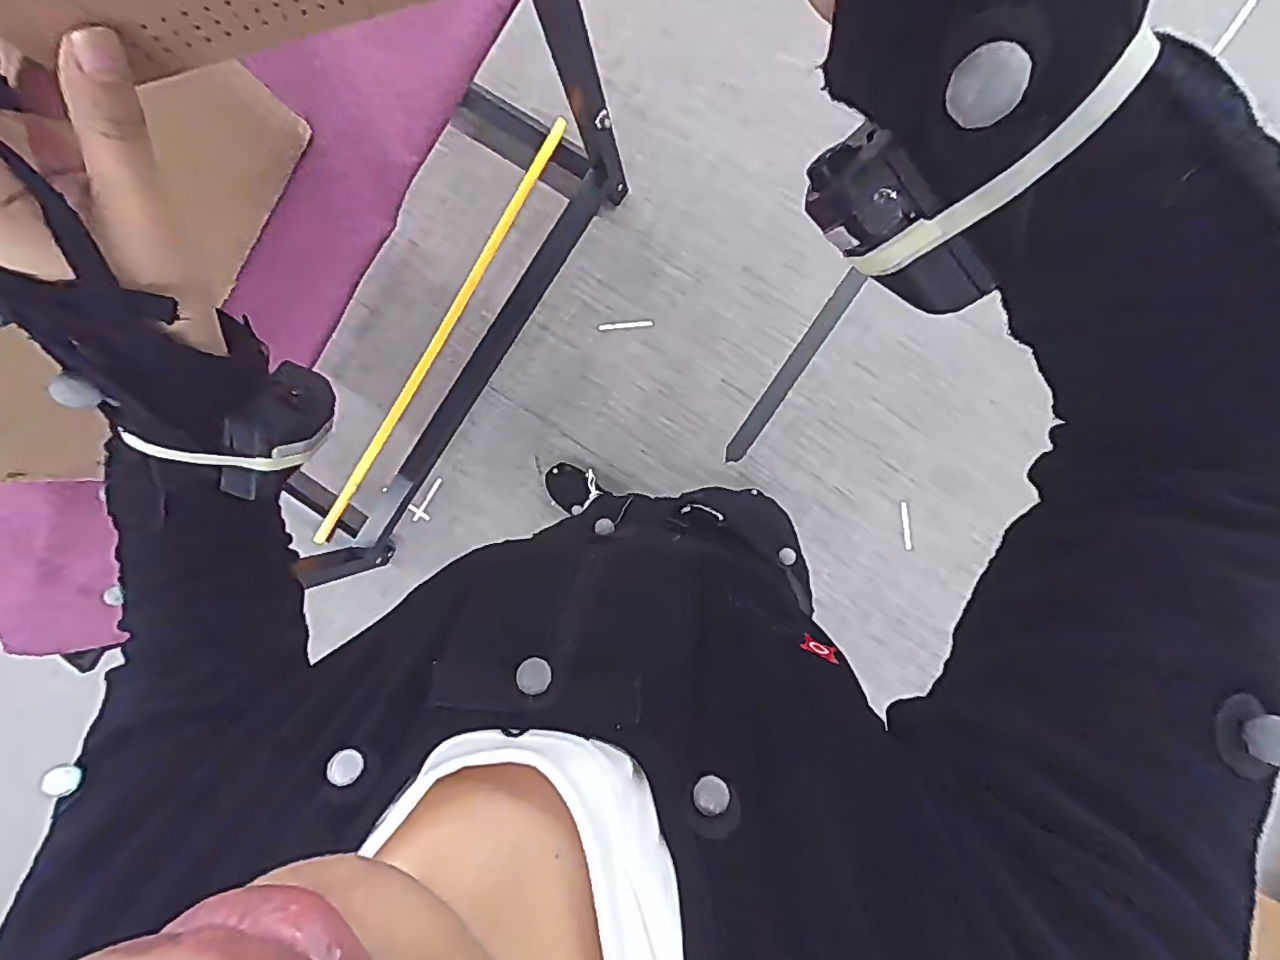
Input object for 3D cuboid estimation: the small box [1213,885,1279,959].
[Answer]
[{"bbox_3d":[1.442,1.059,1.187,0.168,0.176,0.179,29,93,4],"label":"small box"}]
